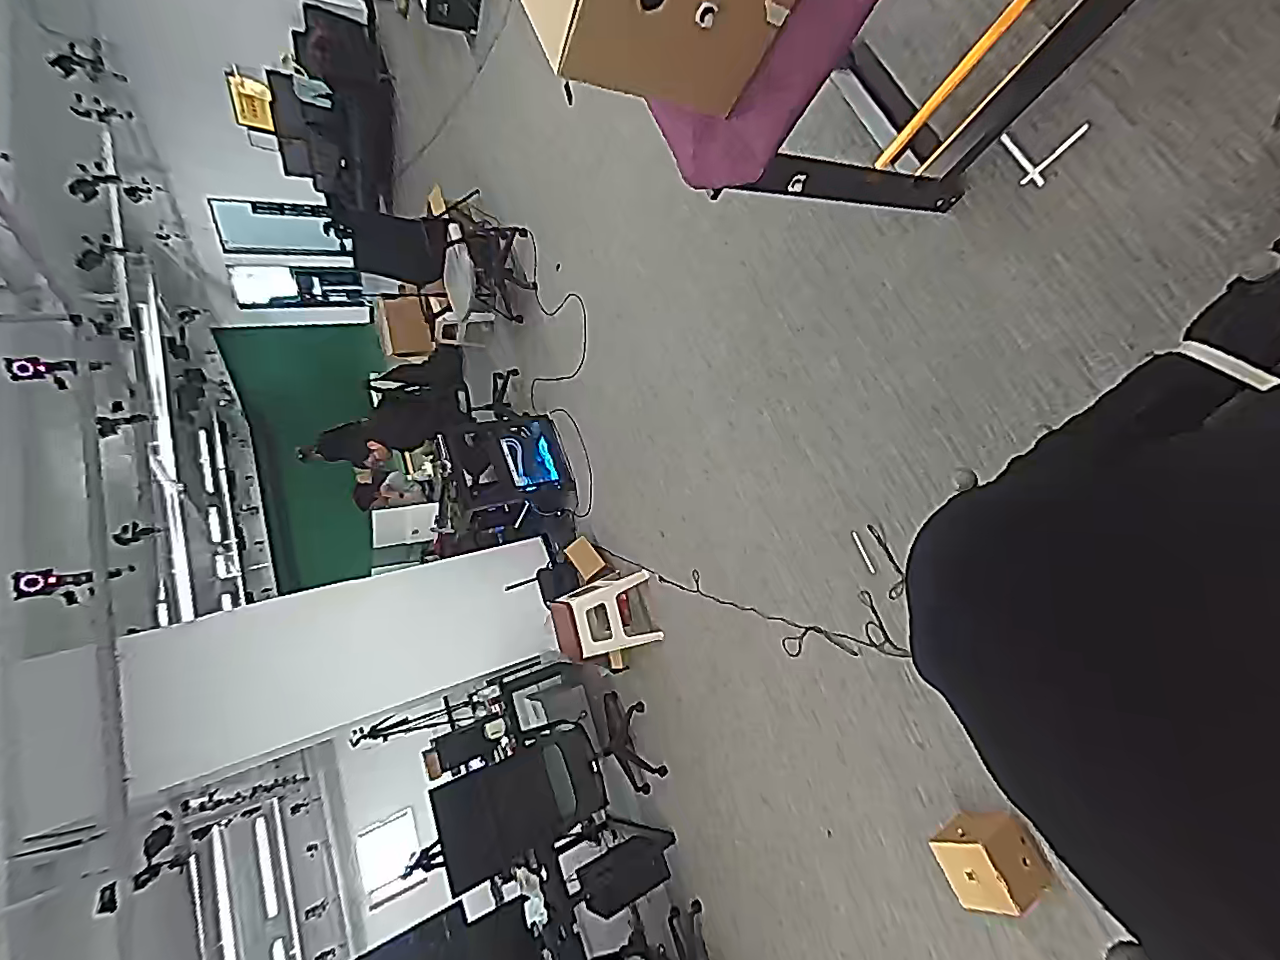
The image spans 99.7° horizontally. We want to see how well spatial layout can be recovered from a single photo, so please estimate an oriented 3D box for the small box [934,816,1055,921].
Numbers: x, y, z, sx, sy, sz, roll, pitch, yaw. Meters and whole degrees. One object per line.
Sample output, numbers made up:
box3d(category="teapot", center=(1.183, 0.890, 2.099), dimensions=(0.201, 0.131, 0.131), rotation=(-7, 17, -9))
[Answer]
box3d(category="small box", center=(0.940, 1.019, 1.435), dimensions=(0.168, 0.176, 0.179), rotation=(65, 147, 21))
